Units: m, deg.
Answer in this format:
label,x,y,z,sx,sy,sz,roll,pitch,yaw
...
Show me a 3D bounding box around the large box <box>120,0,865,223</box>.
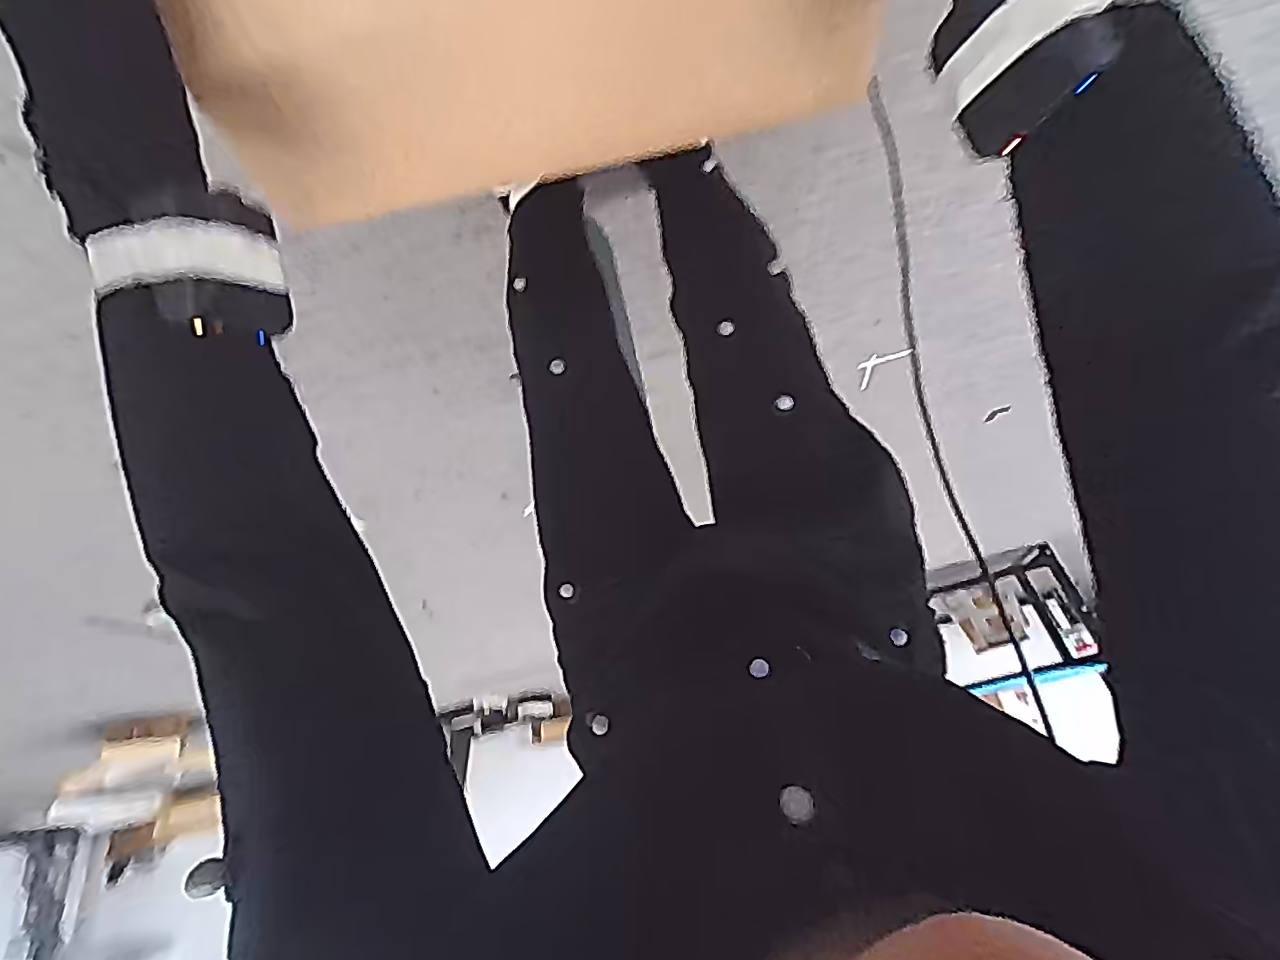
label,x,y,z,sx,sy,sz,roll,pitch,yaw
large box,-0.094,-0.422,0.321,0.408,0.320,0.320,-12,147,1
